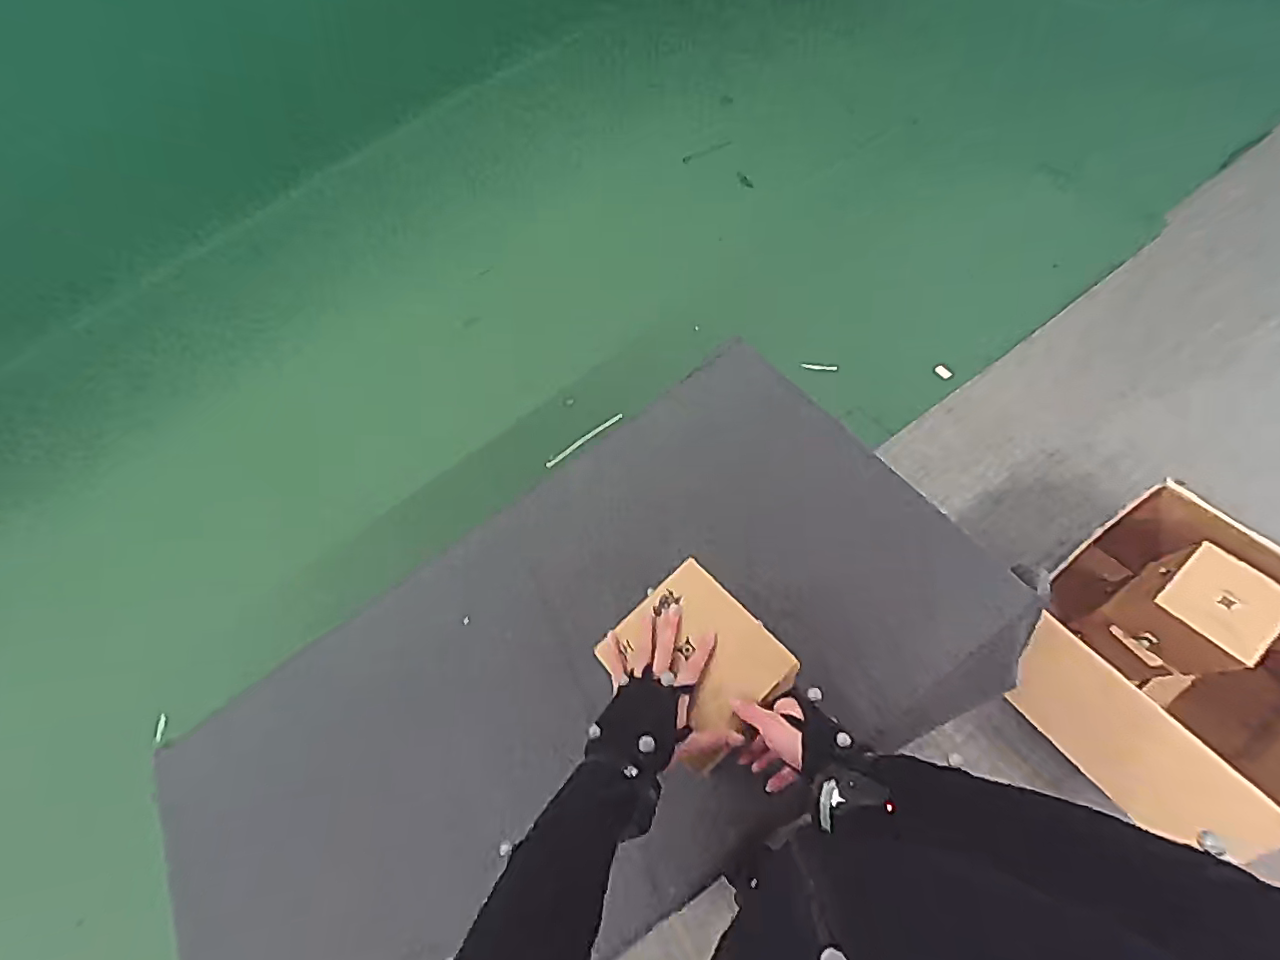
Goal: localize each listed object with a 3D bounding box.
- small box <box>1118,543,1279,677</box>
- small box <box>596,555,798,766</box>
[{"bbox_3d":[1.098,0.256,1.050,0.179,0.176,0.168,-42,64,-8],"label":"small box"},{"bbox_3d":[0.076,0.229,0.686,0.168,0.176,0.179,-41,62,-10],"label":"small box"}]
